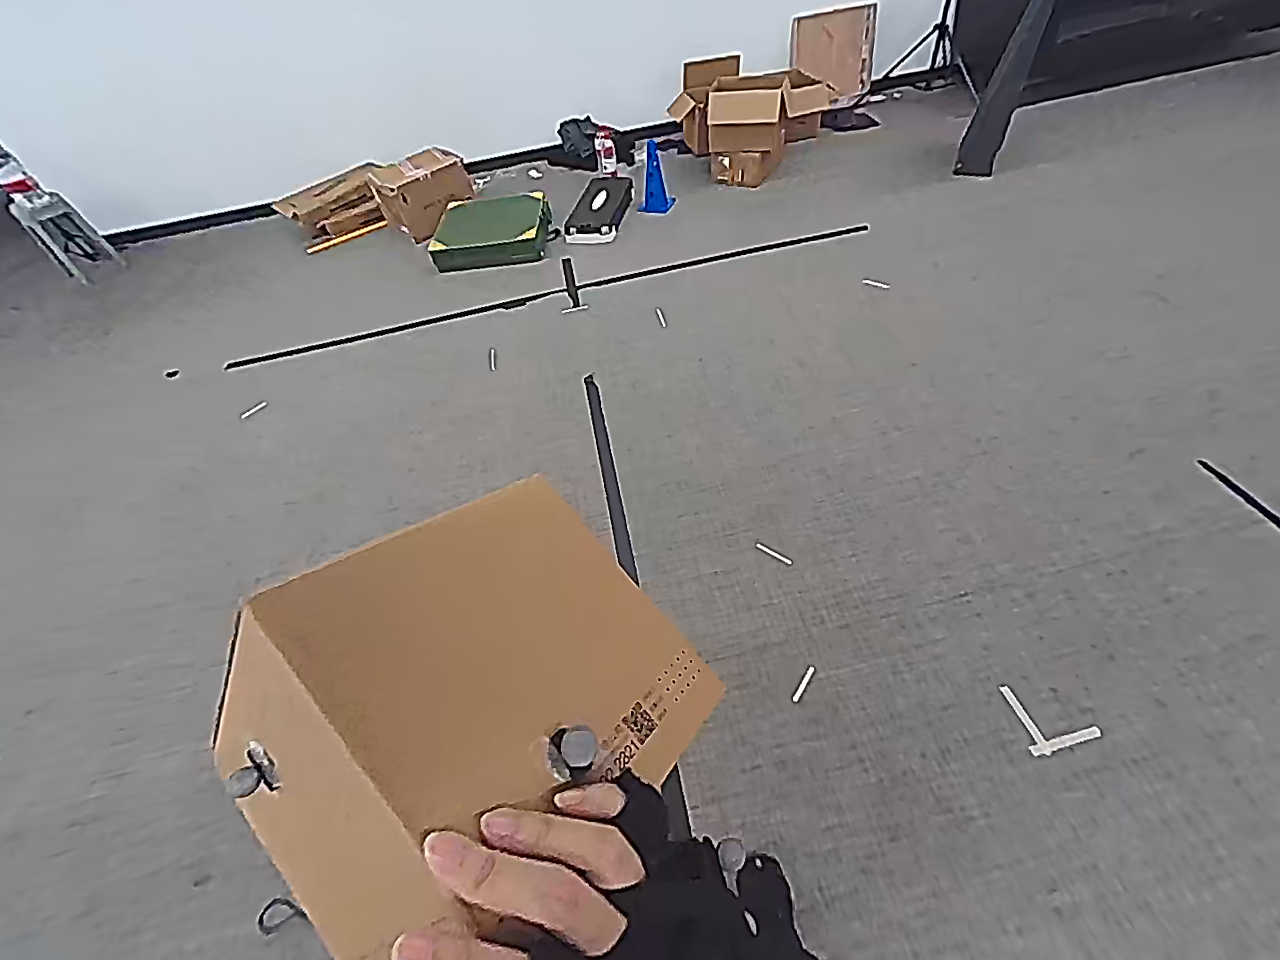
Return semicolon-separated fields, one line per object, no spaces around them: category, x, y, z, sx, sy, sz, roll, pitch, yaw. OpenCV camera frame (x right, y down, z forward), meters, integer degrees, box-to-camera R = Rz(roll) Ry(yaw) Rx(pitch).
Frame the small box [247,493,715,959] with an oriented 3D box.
small box;-0.091;0.143;0.316;0.176;0.179;0.168;47;37;10
